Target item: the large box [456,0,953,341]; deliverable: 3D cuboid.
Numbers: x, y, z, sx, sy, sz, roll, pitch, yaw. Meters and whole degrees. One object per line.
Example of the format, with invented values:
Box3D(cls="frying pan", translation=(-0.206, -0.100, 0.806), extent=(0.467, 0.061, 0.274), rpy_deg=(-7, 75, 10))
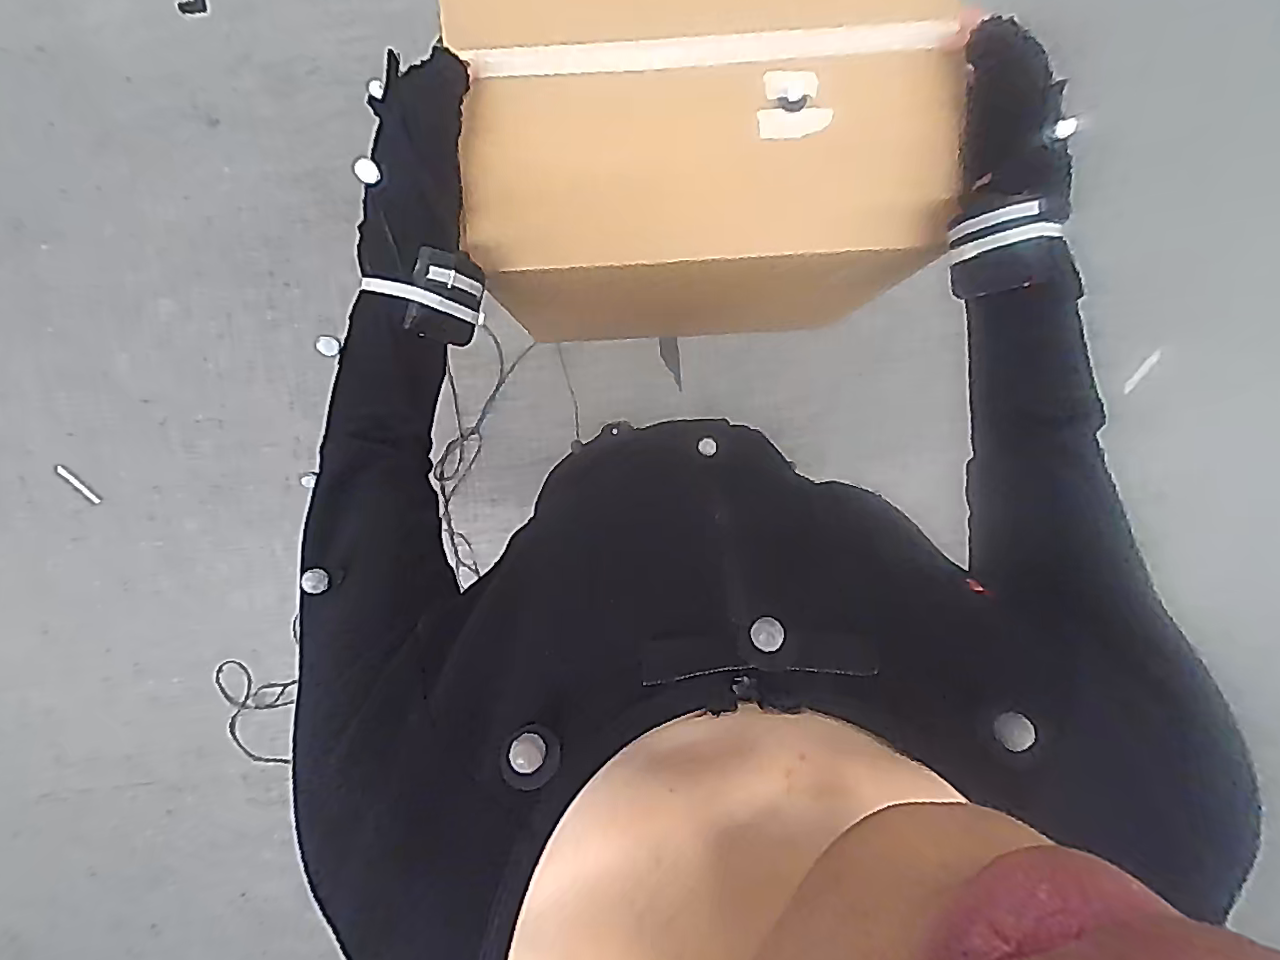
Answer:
Box3D(cls="large box", translation=(0.050, -0.350, 0.590), extent=(0.408, 0.320, 0.320), rpy_deg=(-4, 94, 0))
